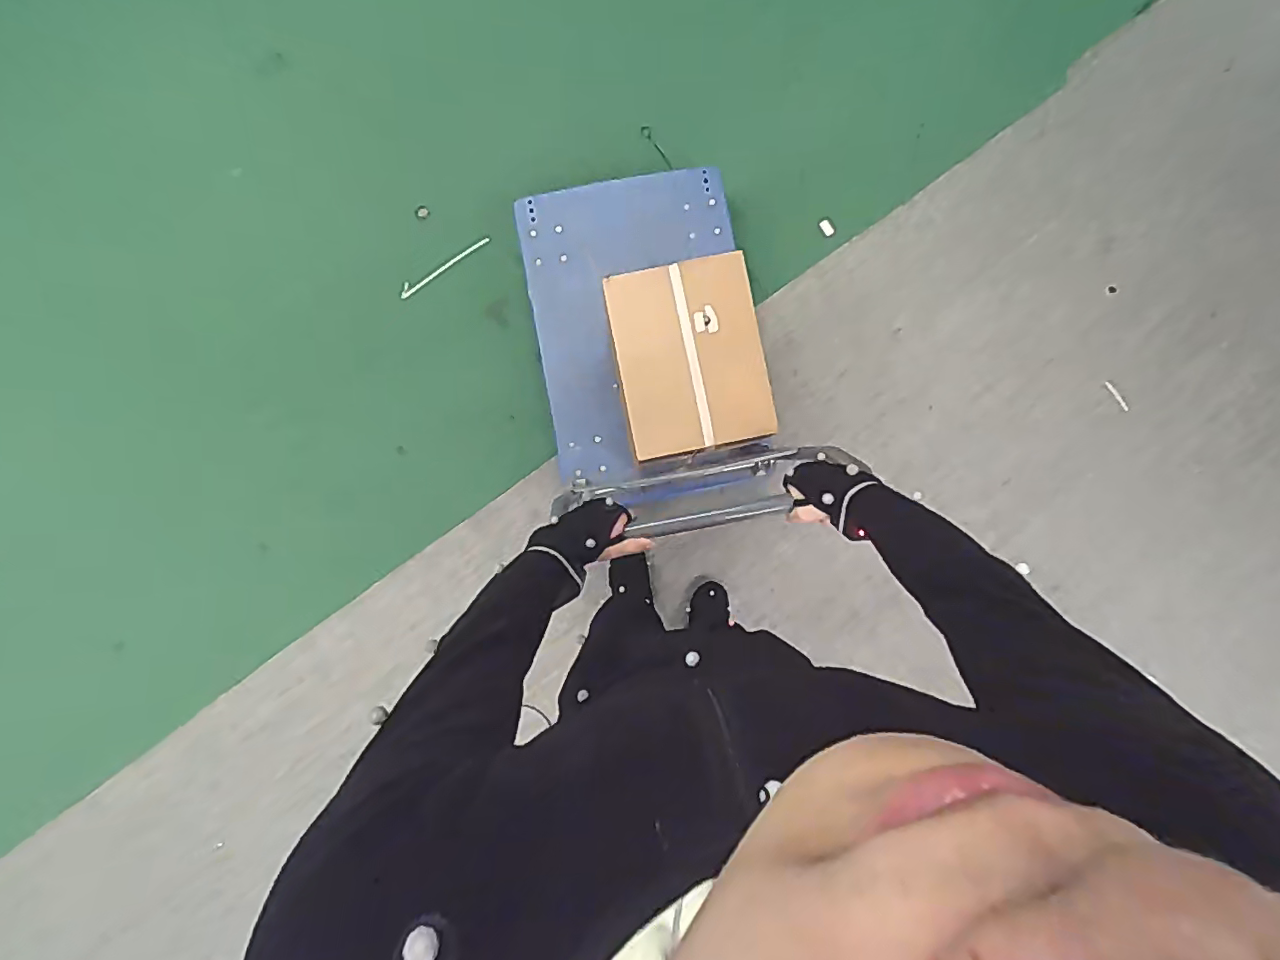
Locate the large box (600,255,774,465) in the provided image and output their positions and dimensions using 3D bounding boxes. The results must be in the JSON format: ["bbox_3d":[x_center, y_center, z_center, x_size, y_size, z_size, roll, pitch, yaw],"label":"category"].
[{"bbox_3d":[0.102,-0.267,1.326,0.320,0.320,0.408,-11,89,-2],"label":"large box"}]
